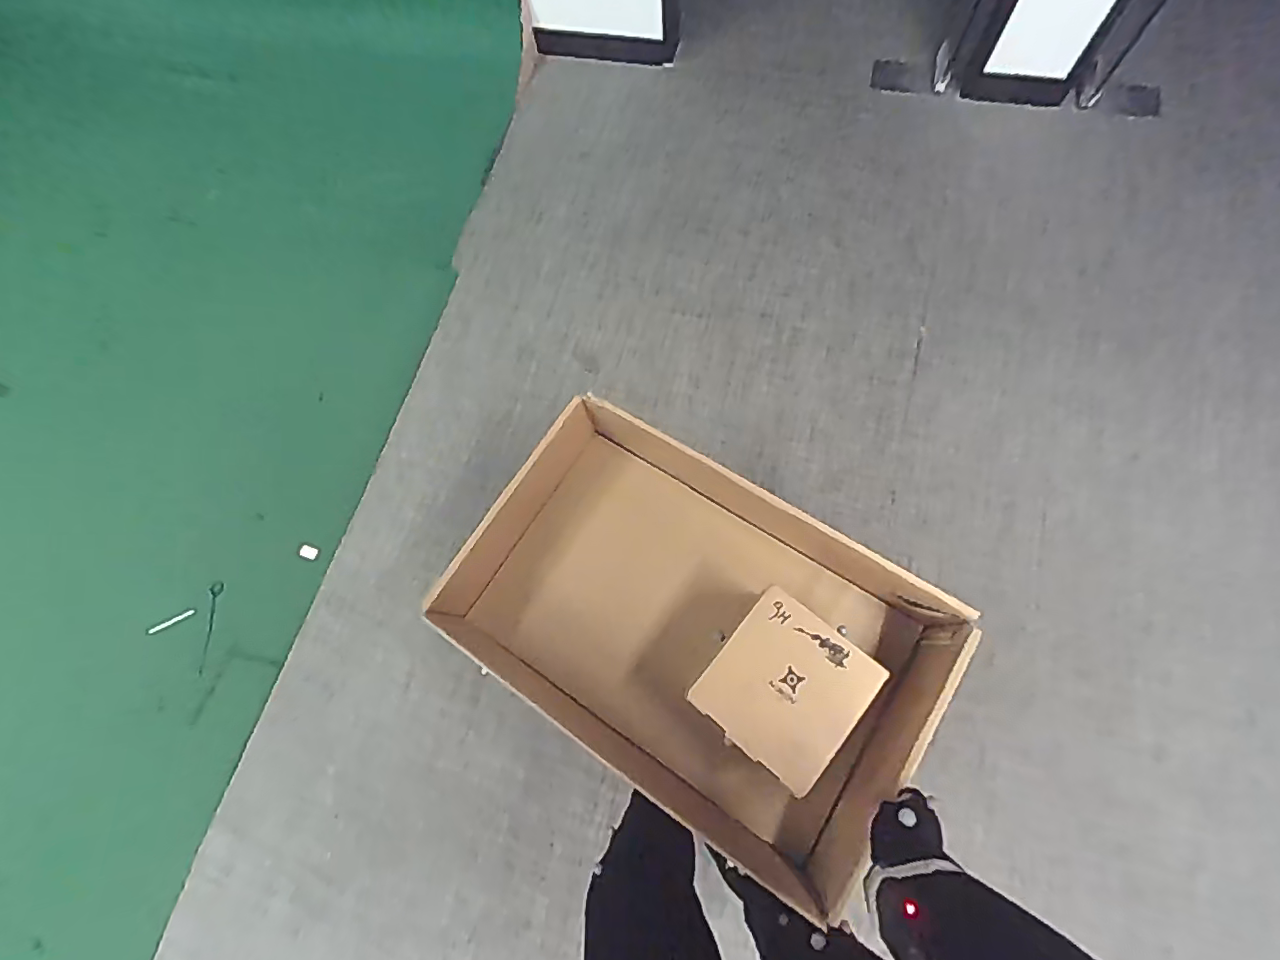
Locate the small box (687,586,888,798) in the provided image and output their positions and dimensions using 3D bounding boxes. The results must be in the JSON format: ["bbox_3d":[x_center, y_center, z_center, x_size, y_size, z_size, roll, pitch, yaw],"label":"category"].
[{"bbox_3d":[0.180,0.263,0.704,0.168,0.176,0.179,38,81,14],"label":"small box"}]
